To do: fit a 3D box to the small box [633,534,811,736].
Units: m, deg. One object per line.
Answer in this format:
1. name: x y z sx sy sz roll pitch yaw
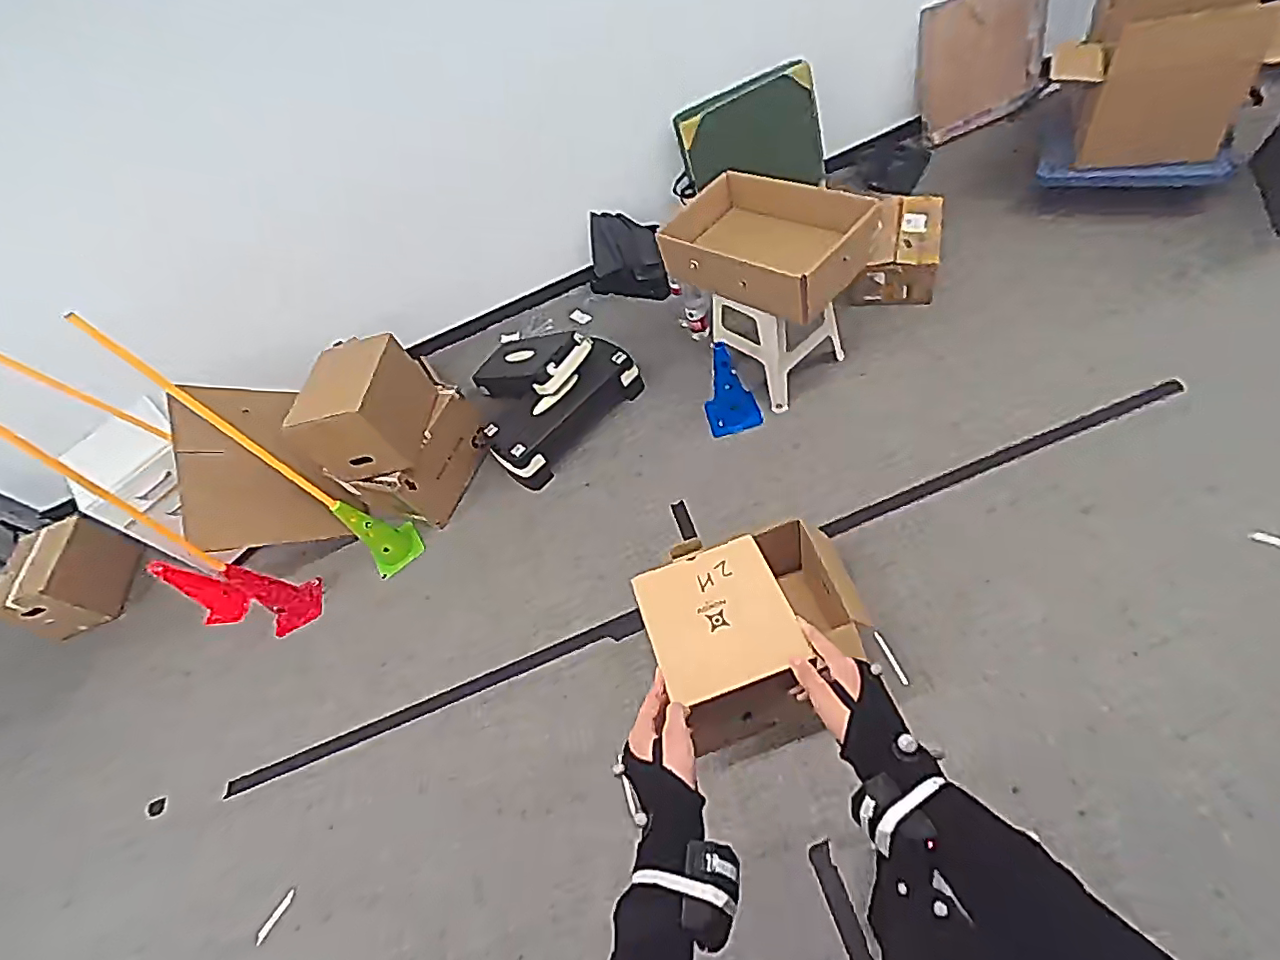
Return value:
1. small box: 0.106 0.206 0.696 0.168 0.176 0.179 -20 46 -2
